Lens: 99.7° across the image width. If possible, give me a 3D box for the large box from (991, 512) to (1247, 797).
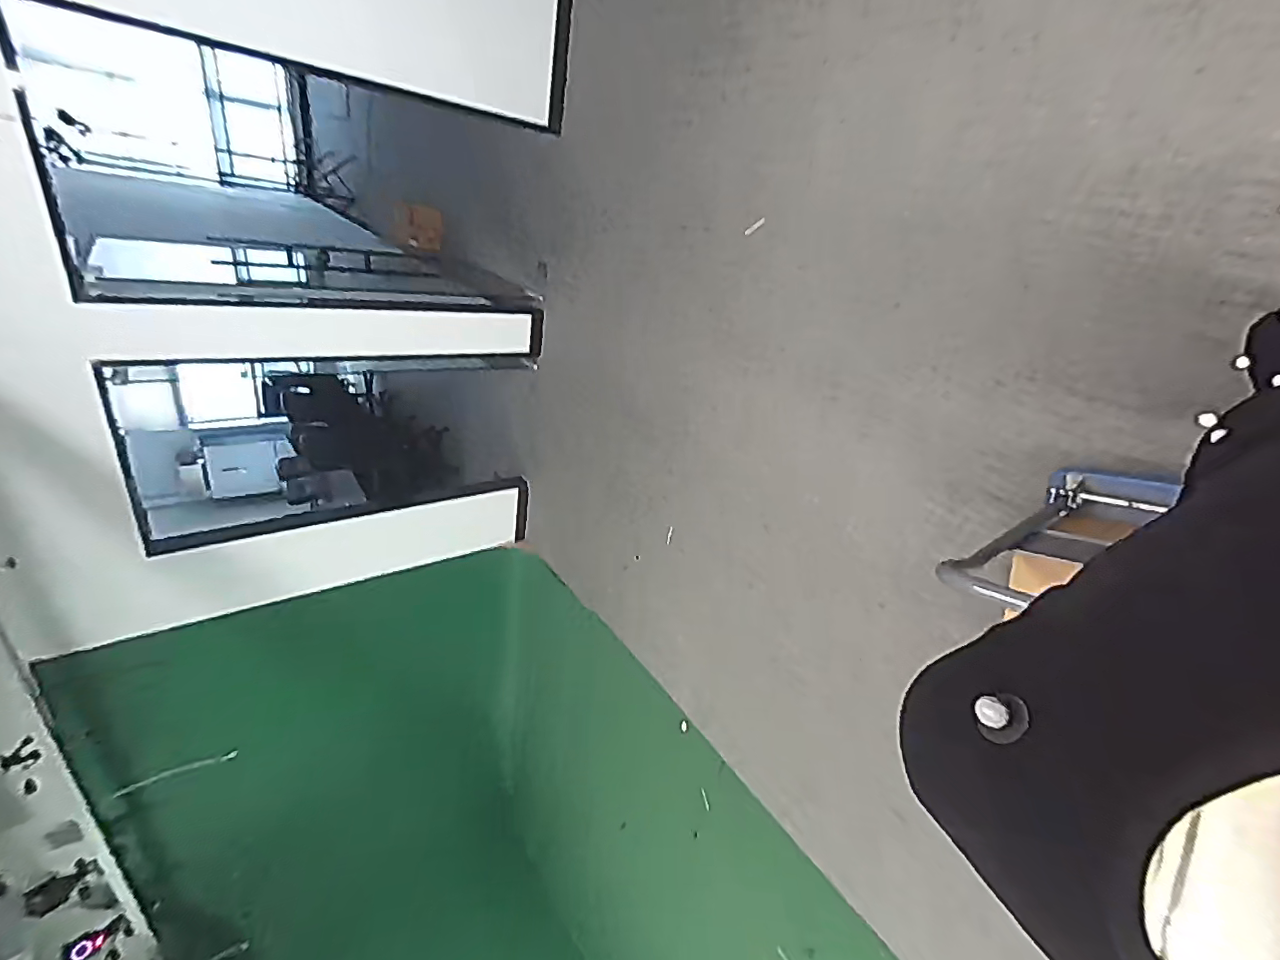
[{"bbox_3d":[0.958,0.308,1.094,0.320,0.320,0.408,15,111,50],"label":"large box"}]
